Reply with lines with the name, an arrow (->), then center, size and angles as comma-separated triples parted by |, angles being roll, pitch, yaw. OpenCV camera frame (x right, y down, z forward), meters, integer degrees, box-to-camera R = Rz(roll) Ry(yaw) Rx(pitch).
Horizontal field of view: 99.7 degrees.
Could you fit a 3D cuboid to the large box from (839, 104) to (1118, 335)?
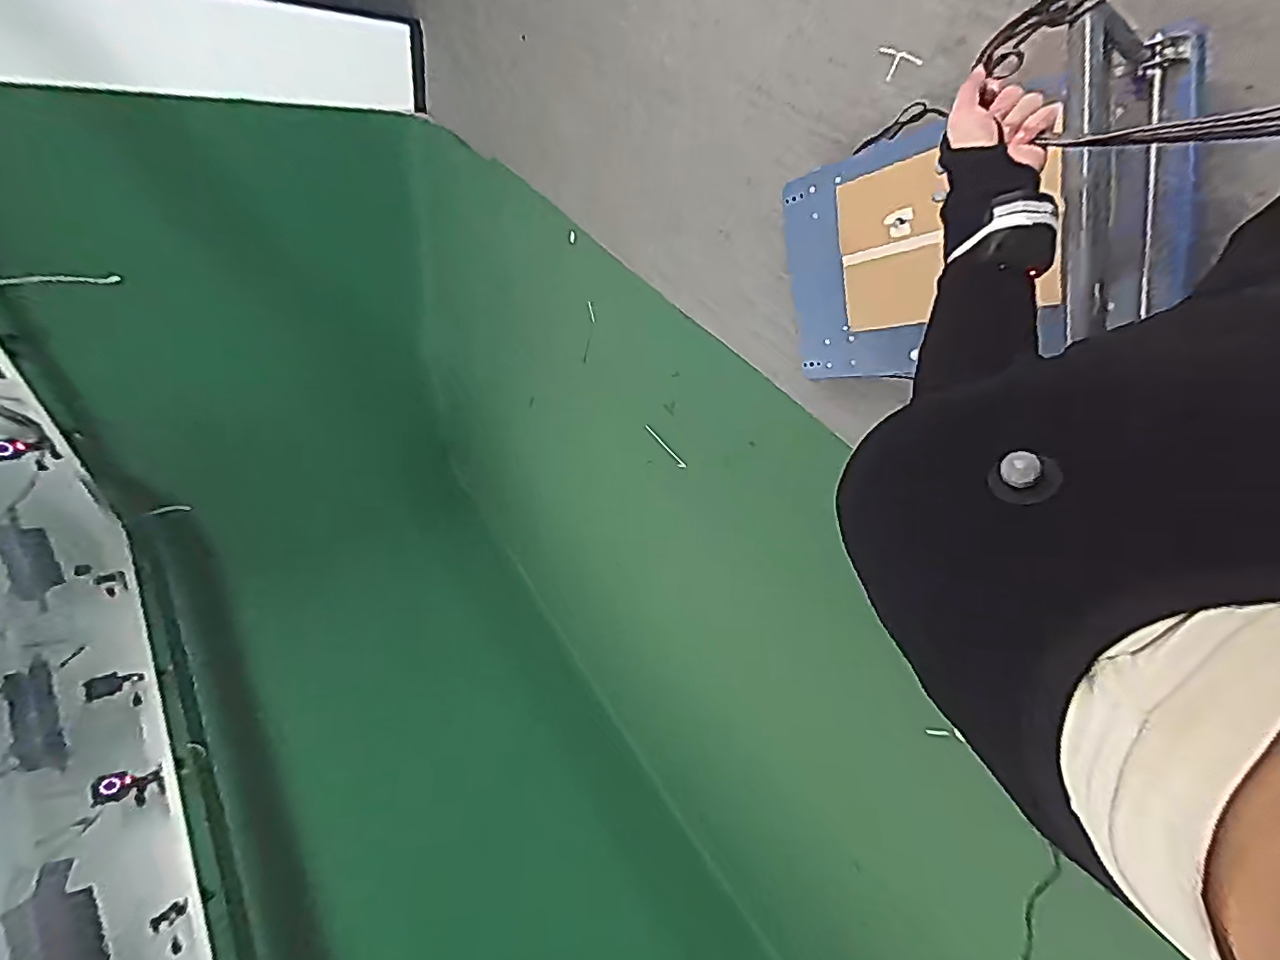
large box -> 0.689, -0.506, 1.119 | 0.408, 0.320, 0.320 | 8, 113, 53
